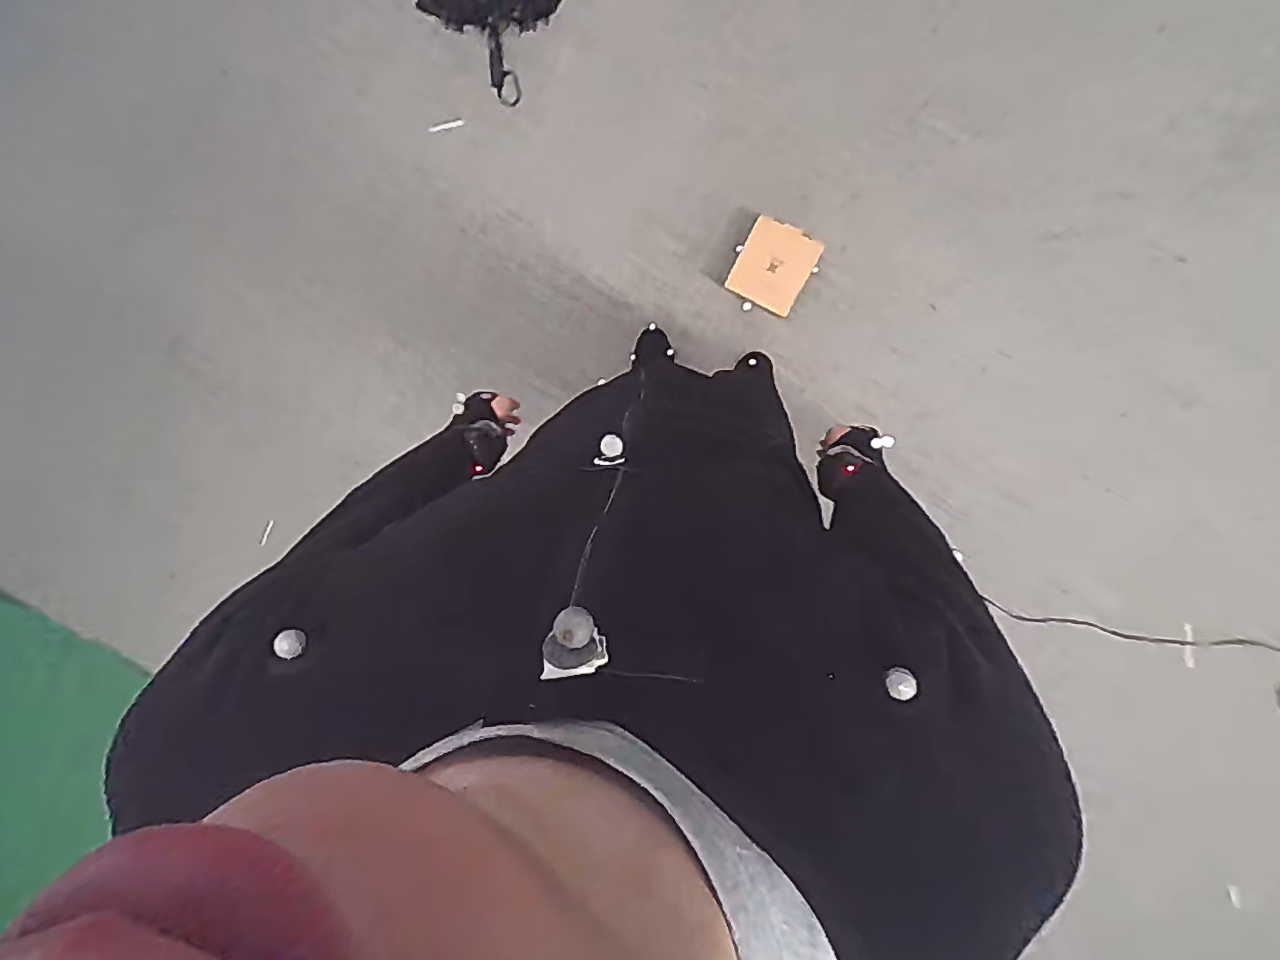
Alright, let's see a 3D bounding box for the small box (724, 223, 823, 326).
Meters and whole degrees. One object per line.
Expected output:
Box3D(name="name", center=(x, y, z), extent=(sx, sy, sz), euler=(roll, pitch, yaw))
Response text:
Box3D(name="small box", center=(0.319, -0.494, 1.321), extent=(0.168, 0.176, 0.179), euler=(28, 109, 3))
